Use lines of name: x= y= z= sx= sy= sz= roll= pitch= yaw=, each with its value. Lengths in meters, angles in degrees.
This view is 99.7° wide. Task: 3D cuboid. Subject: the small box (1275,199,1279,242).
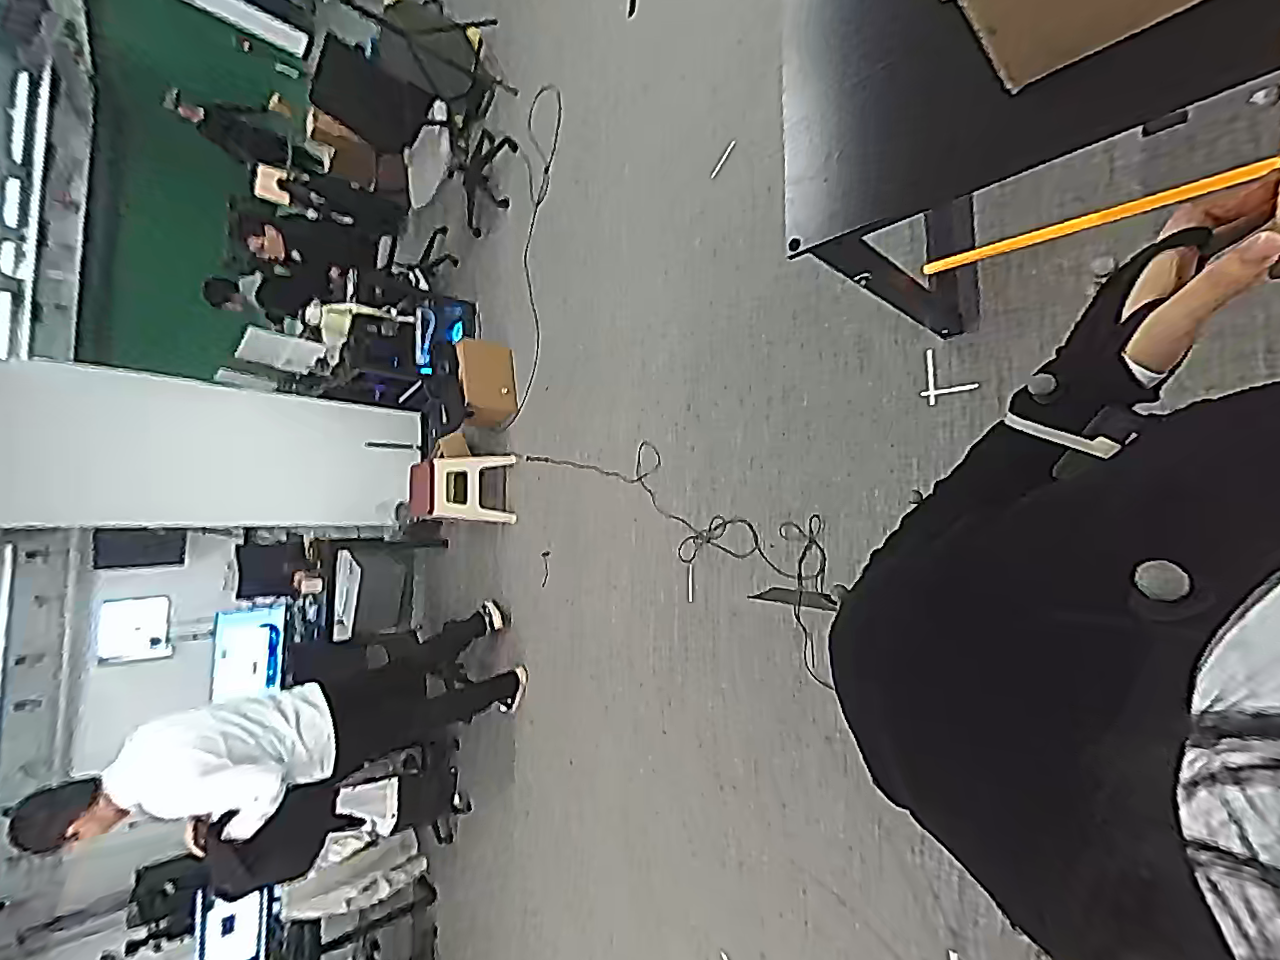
small box: x=0.433 y=-0.205 z=0.251 sx=0.168 sy=0.176 sz=0.179 roll=8 pitch=106 yaw=49
